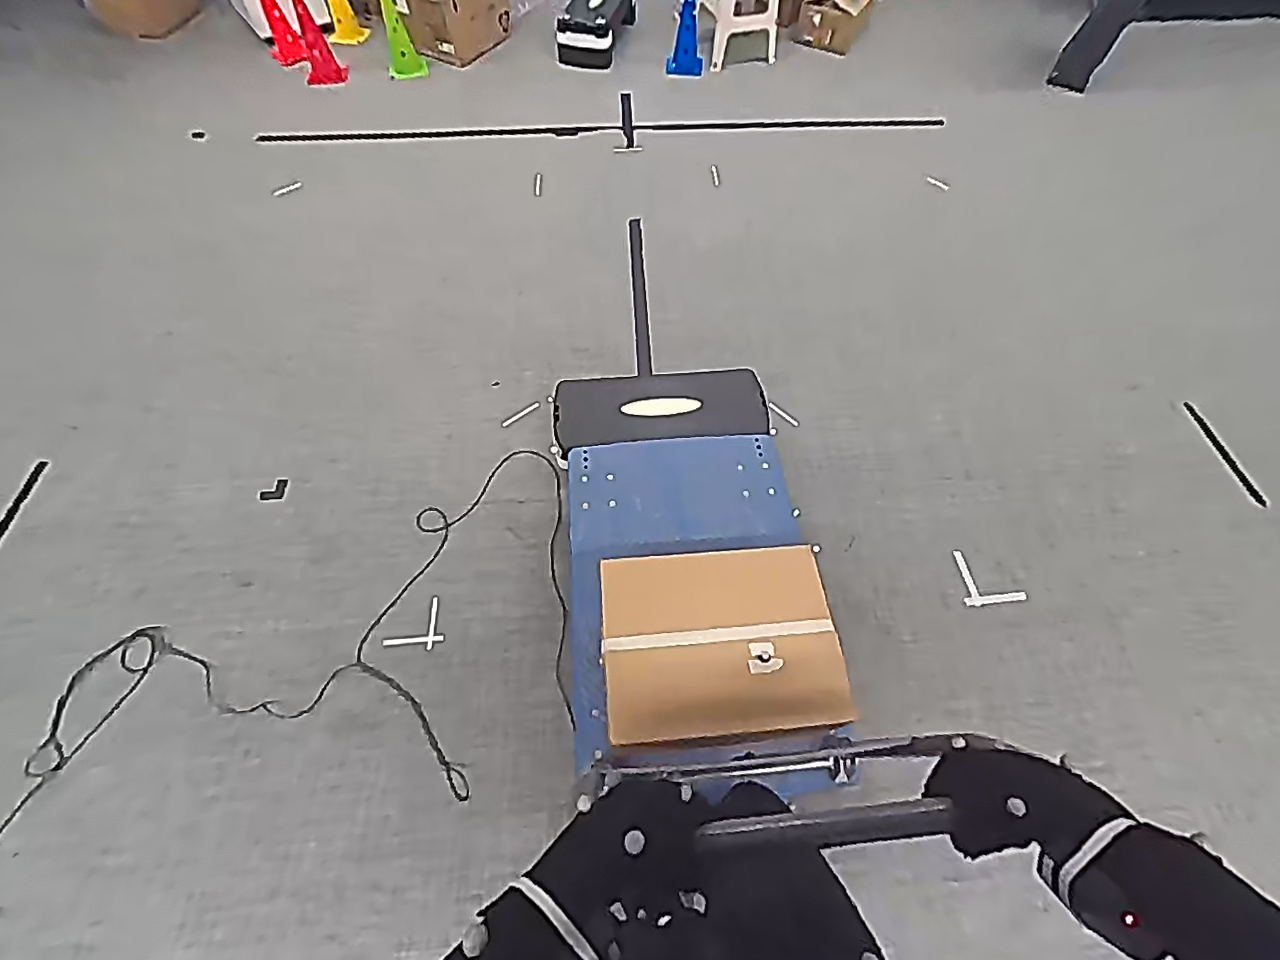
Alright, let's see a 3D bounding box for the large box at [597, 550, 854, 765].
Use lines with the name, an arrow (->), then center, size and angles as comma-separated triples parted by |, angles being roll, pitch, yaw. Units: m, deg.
large box -> 0.130, 0.355, 1.059 | 0.408, 0.320, 0.320 | -4, 60, -4
